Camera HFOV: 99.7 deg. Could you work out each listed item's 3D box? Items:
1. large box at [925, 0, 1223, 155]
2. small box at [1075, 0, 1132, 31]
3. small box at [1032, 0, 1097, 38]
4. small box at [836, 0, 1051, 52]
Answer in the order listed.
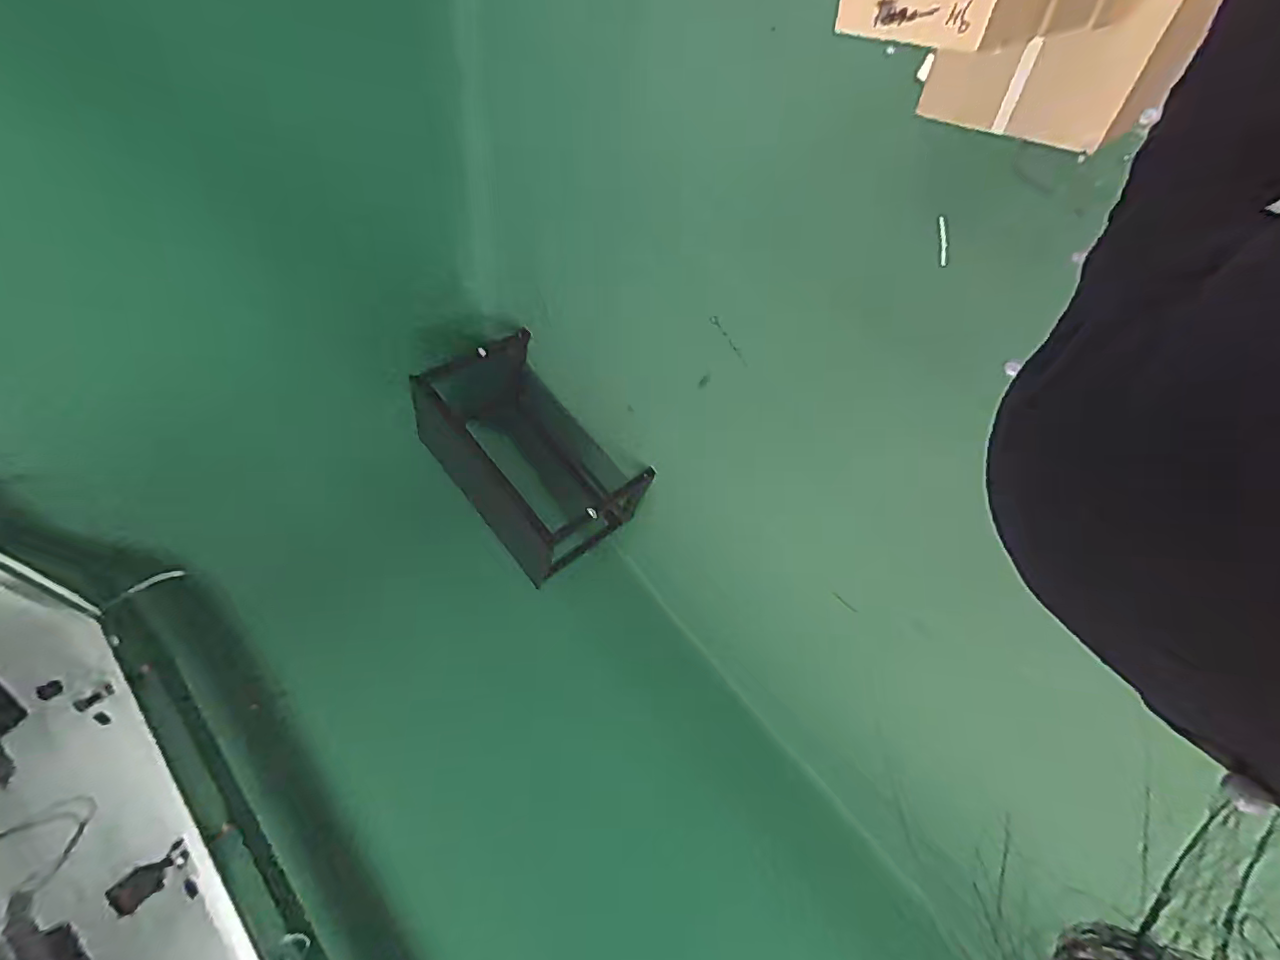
[{"bbox_3d":[0.748,-0.813,0.872,0.320,0.320,0.408,39,147,30],"label":"large box"},{"bbox_3d":[0.581,-0.719,0.715,0.179,0.176,0.168,38,145,29],"label":"small box"},{"bbox_3d":[0.461,-0.644,0.633,0.168,0.176,0.179,37,145,30],"label":"small box"},{"bbox_3d":[0.340,-0.565,0.554,0.168,0.176,0.179,38,144,29],"label":"small box"}]
